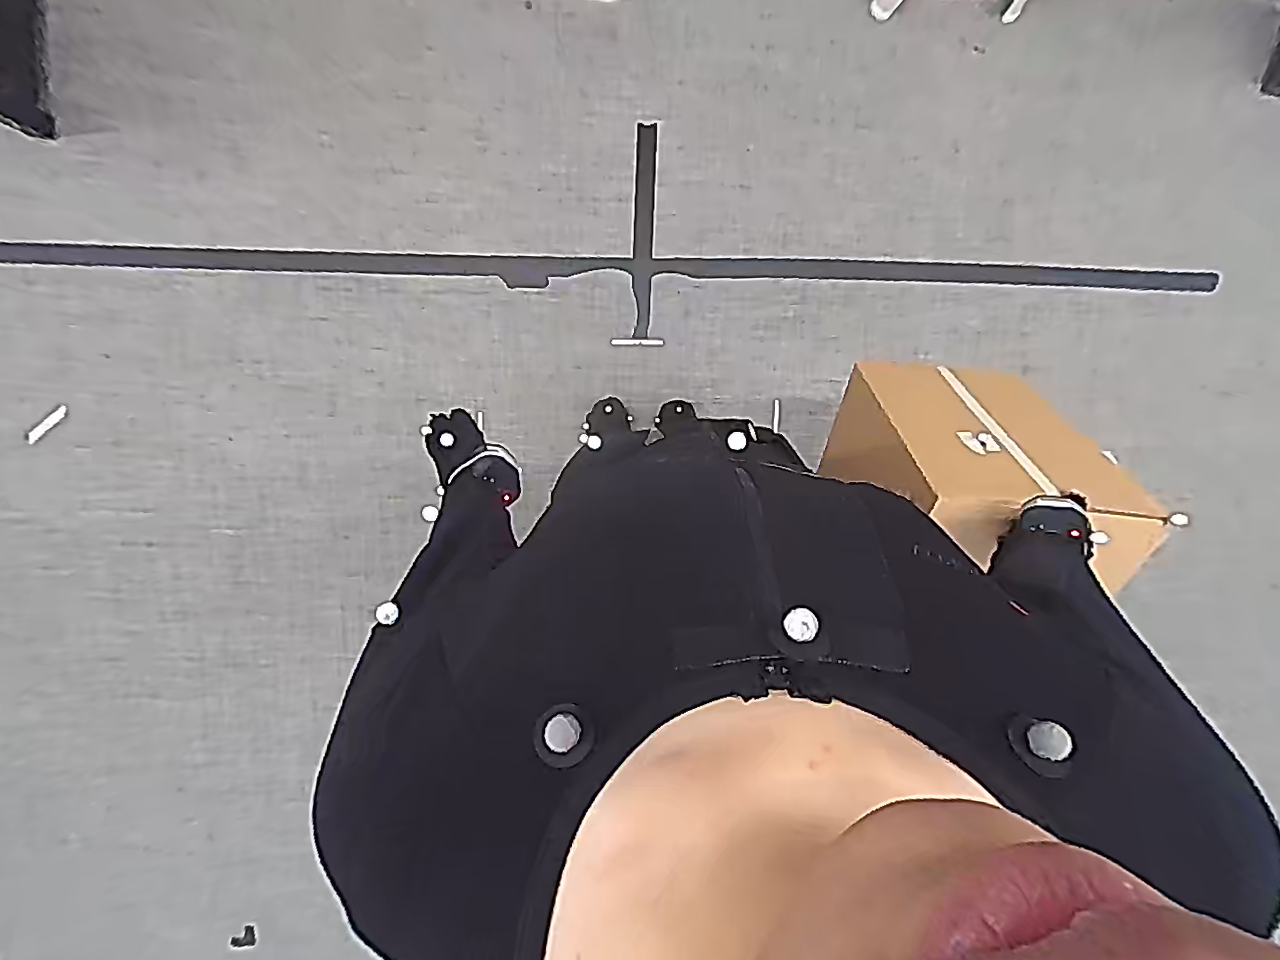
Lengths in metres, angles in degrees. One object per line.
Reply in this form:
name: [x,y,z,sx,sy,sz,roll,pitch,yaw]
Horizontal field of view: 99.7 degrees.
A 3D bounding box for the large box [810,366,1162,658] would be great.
large box: [0.529,0.042,0.951,0.320,0.408,0.320,6,129,-1]
